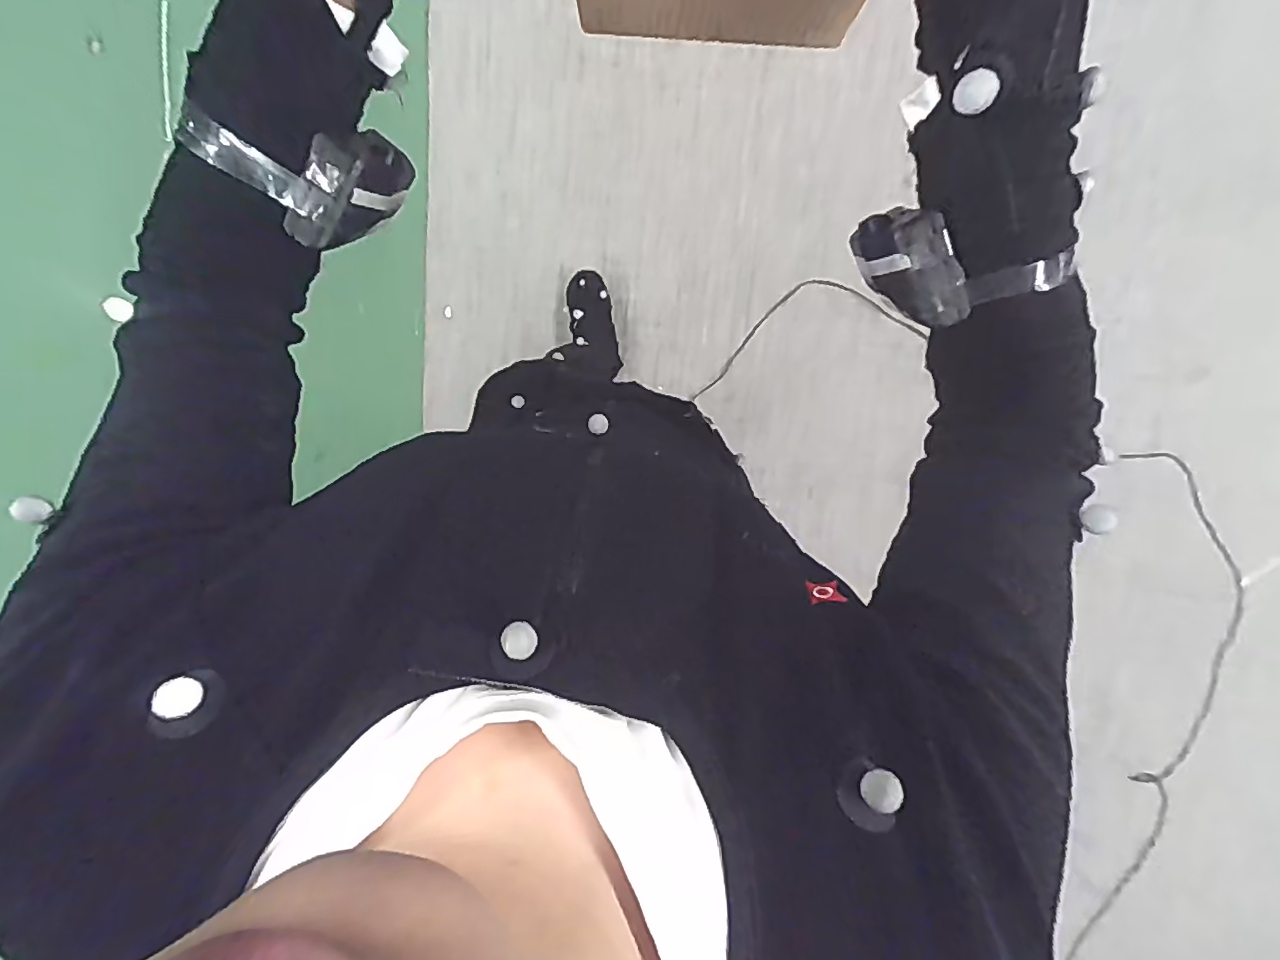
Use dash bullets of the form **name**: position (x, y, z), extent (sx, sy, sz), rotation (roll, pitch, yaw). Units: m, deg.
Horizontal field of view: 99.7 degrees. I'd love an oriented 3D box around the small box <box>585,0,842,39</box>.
- **small box**: position (0.052, -0.368, 0.274), extent (0.179, 0.176, 0.168), rotation (3, 100, -2)
